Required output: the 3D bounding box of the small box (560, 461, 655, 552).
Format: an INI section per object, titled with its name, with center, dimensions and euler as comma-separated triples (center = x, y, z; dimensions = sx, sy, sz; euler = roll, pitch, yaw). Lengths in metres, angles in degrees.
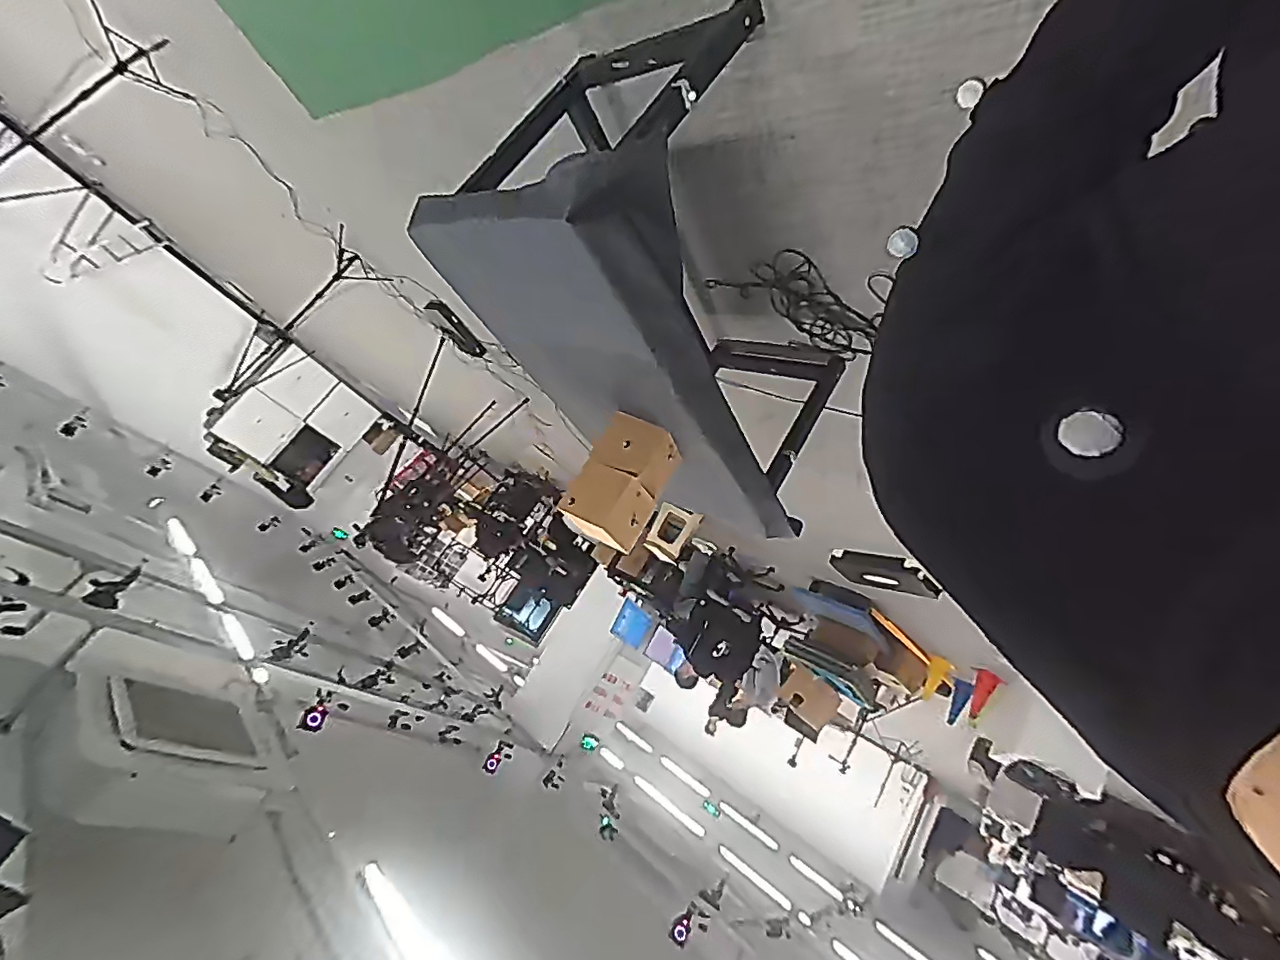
[small box]
center = -0.080, 0.067, 1.486
dimensions = 0.179, 0.176, 0.168
euler = 20, 161, 37
